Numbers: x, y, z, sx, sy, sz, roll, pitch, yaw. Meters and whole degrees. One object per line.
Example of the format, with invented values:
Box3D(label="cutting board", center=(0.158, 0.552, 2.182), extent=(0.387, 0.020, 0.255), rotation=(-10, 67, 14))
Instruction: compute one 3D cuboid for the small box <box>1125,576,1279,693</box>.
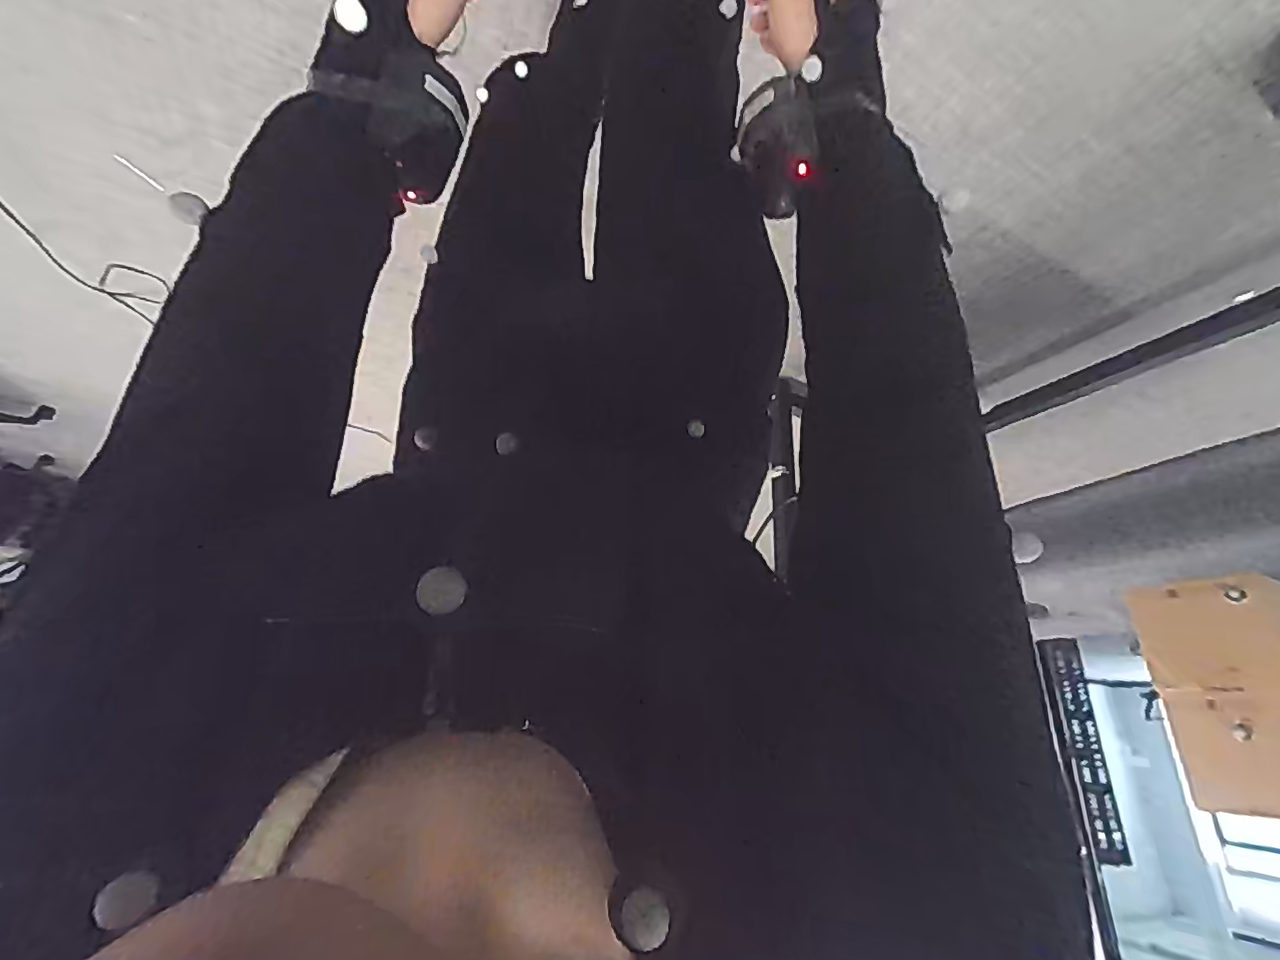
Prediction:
Box3D(label="small box", center=(0.932, 0.255, 0.868), extent=(0.179, 0.176, 0.168), rotation=(16, 154, -27))

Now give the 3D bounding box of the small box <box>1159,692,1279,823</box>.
Box3D(label="small box", center=(0.936, 0.409, 0.807), extent=(0.179, 0.176, 0.168), rotation=(16, 153, -25))
